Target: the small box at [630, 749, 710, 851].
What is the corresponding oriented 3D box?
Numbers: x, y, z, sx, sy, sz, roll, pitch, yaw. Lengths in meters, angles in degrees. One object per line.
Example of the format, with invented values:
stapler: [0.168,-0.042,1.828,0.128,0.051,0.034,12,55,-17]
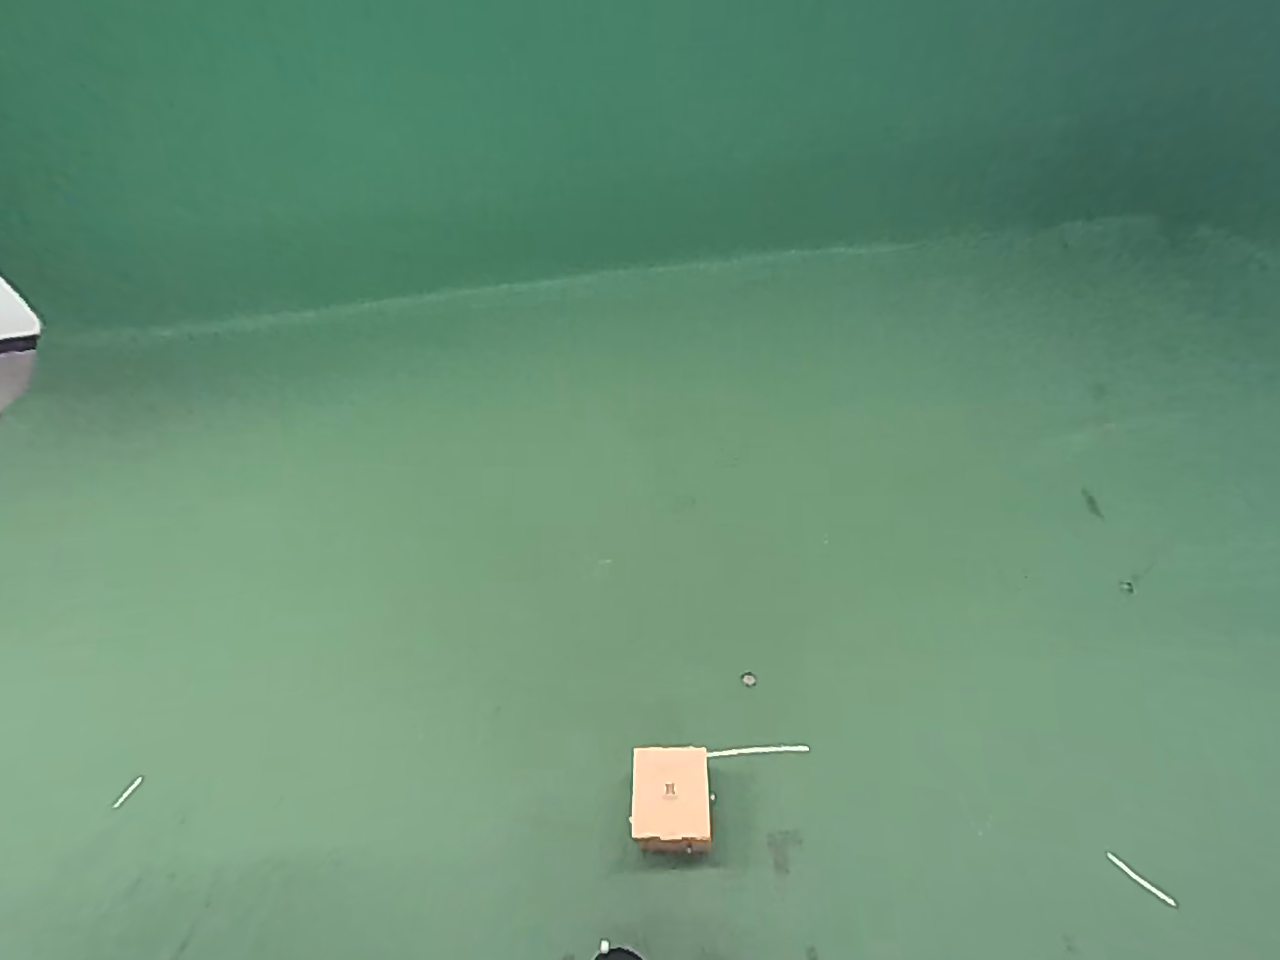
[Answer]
small box: [0.072,0.727,1.224,0.168,0.176,0.179,-2,49,5]
